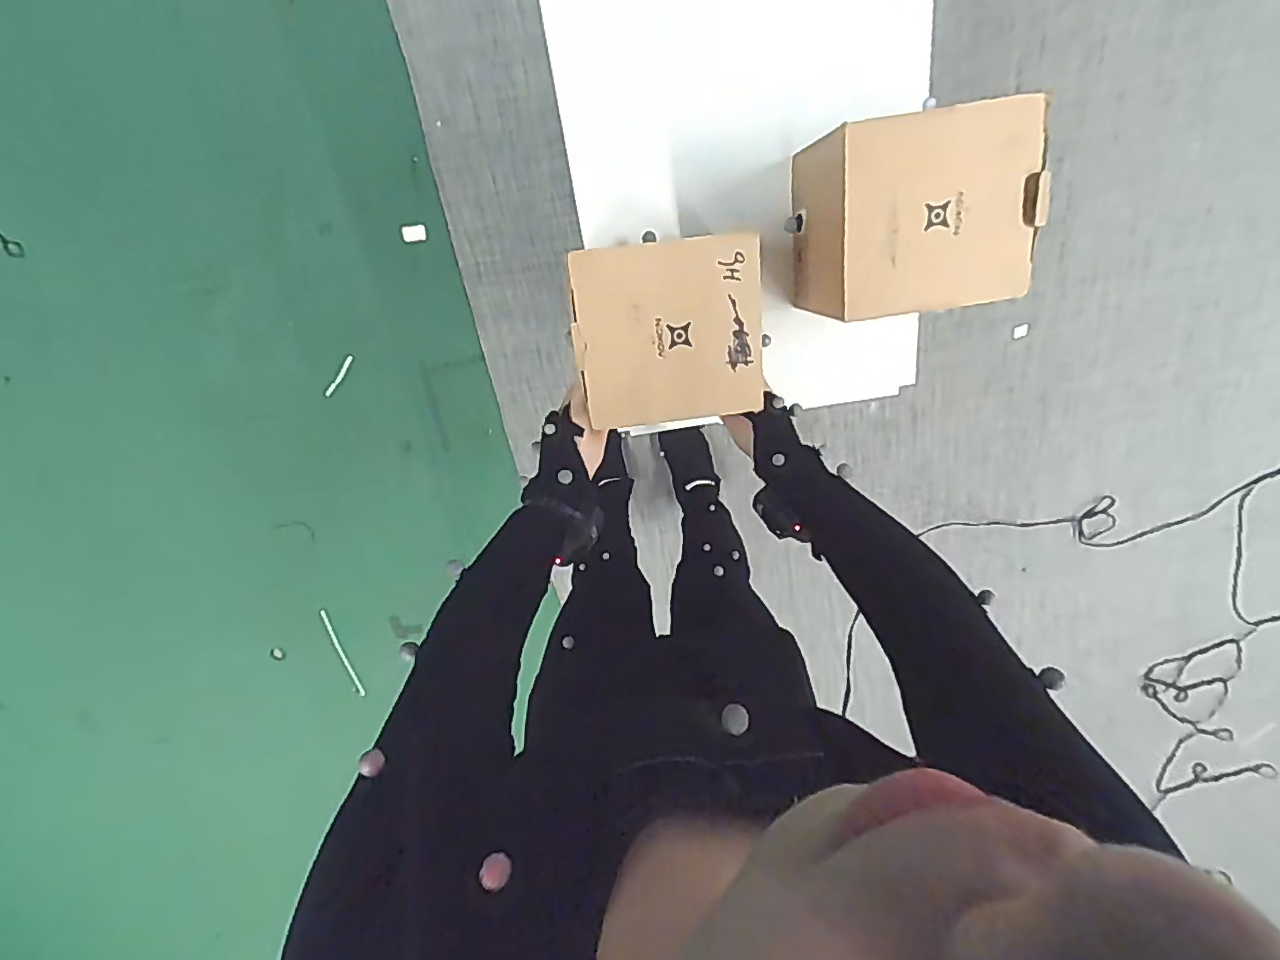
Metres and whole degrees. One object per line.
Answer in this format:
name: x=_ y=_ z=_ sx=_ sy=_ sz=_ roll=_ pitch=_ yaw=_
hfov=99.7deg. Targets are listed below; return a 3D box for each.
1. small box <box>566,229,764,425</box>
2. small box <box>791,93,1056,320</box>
small box: x=0.024 y=-0.165 z=0.576 sx=0.179 sy=0.176 sz=0.168 roll=-7 pitch=111 yaw=-1
small box: x=0.265 y=-0.267 z=0.551 sx=0.179 sy=0.176 sz=0.168 roll=-7 pitch=113 yaw=2
